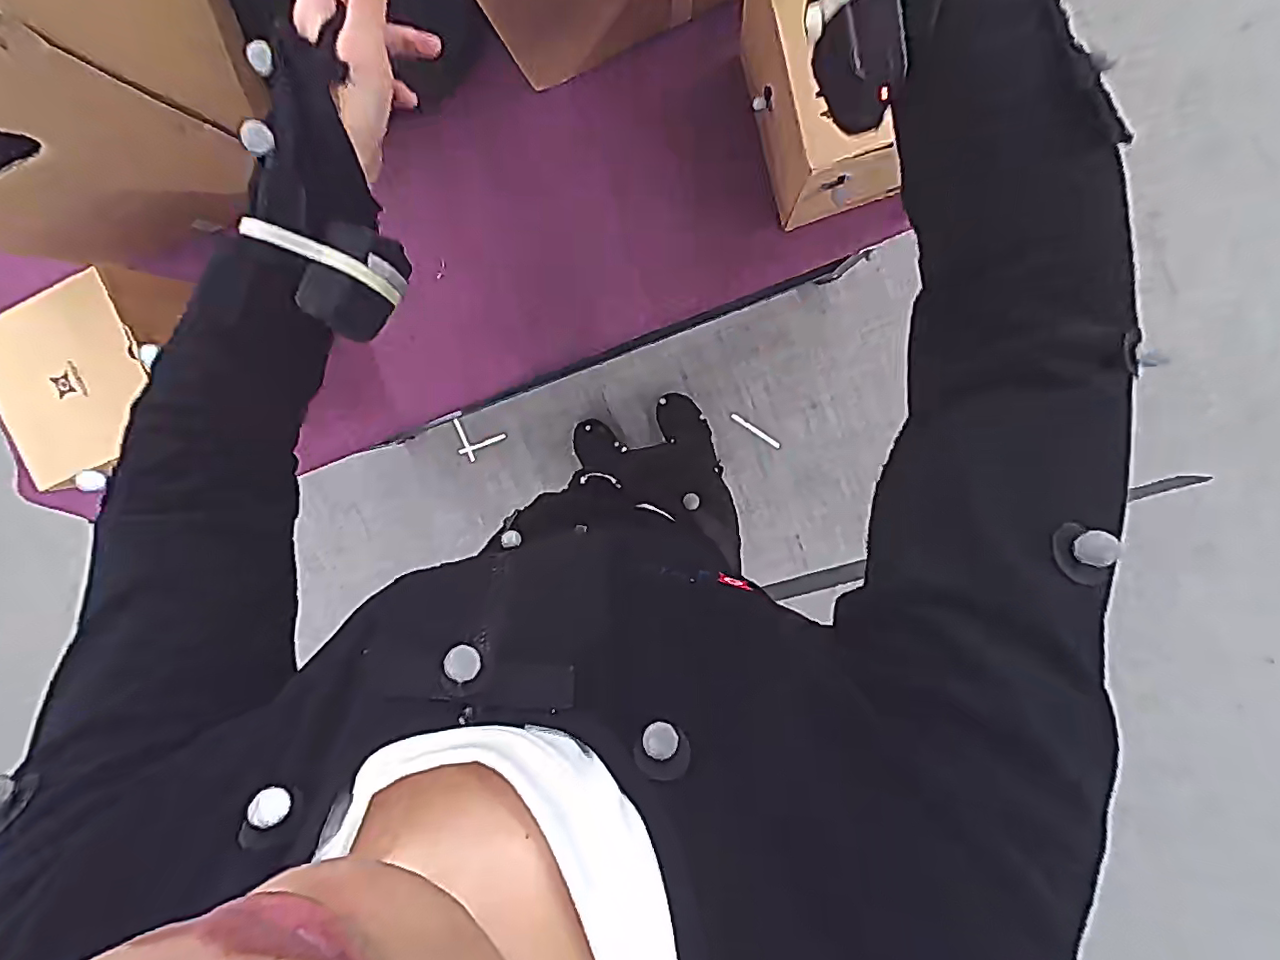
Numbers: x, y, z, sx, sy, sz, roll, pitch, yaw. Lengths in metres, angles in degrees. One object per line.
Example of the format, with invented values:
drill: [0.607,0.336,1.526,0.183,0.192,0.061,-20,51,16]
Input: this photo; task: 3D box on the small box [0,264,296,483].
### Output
small box: [-0.537,-0.110,0.599,0.179,0.176,0.168,-20,97,10]

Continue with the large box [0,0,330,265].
large box: [-0.569,-0.457,0.465,0.320,0.320,0.408,-17,101,11]
